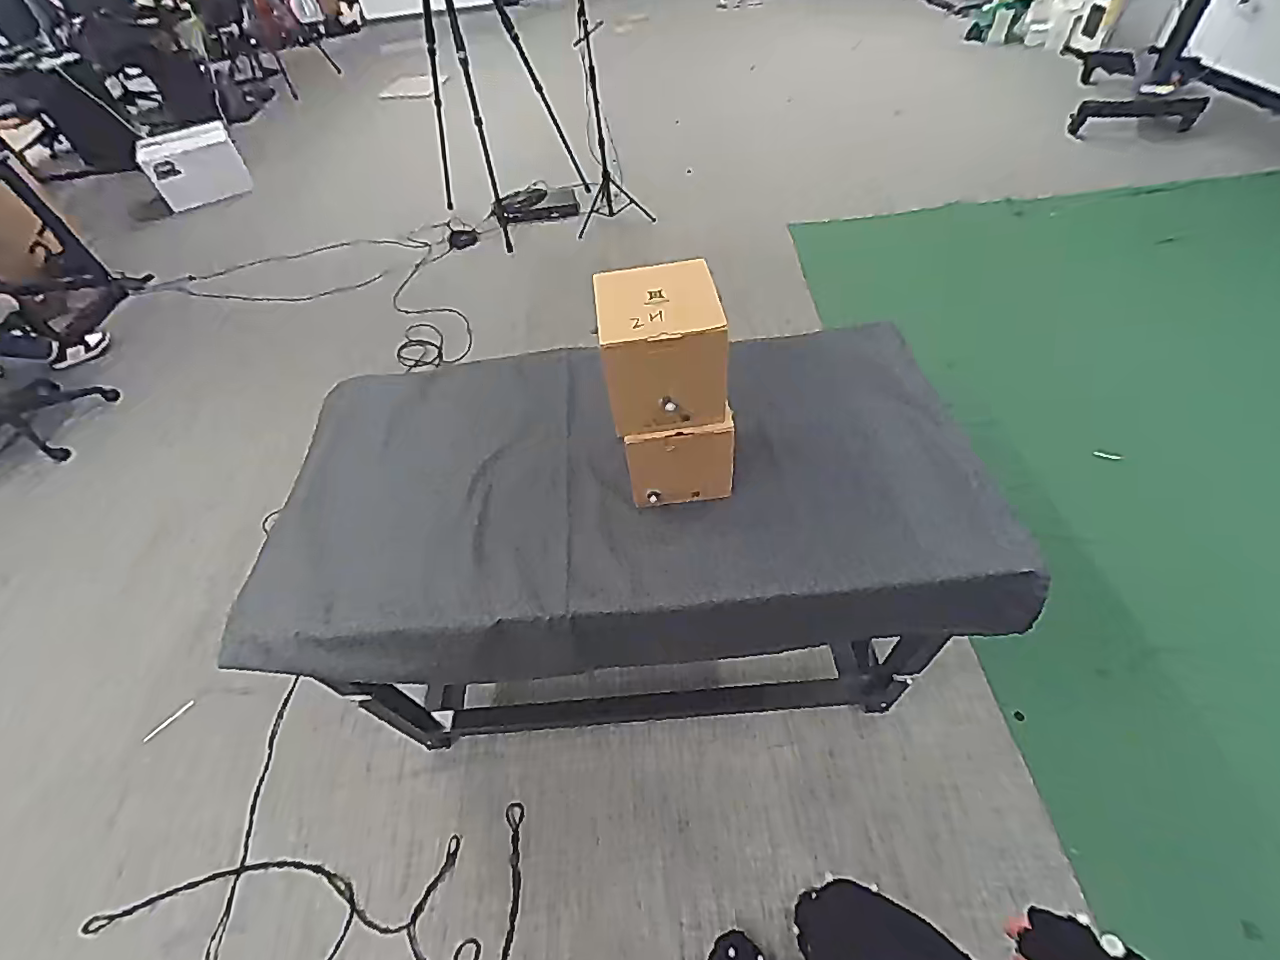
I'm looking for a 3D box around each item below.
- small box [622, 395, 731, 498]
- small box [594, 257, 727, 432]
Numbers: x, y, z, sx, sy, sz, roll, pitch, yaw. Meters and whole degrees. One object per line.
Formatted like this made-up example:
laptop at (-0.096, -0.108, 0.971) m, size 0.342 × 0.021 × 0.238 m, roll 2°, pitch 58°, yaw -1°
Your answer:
small box at (0.059, -0.083, 0.908) m, size 0.168 × 0.176 × 0.179 m, roll -7°, pitch 50°, yaw 2°
small box at (0.028, -0.196, 0.791) m, size 0.168 × 0.176 × 0.179 m, roll -8°, pitch 51°, yaw 1°
